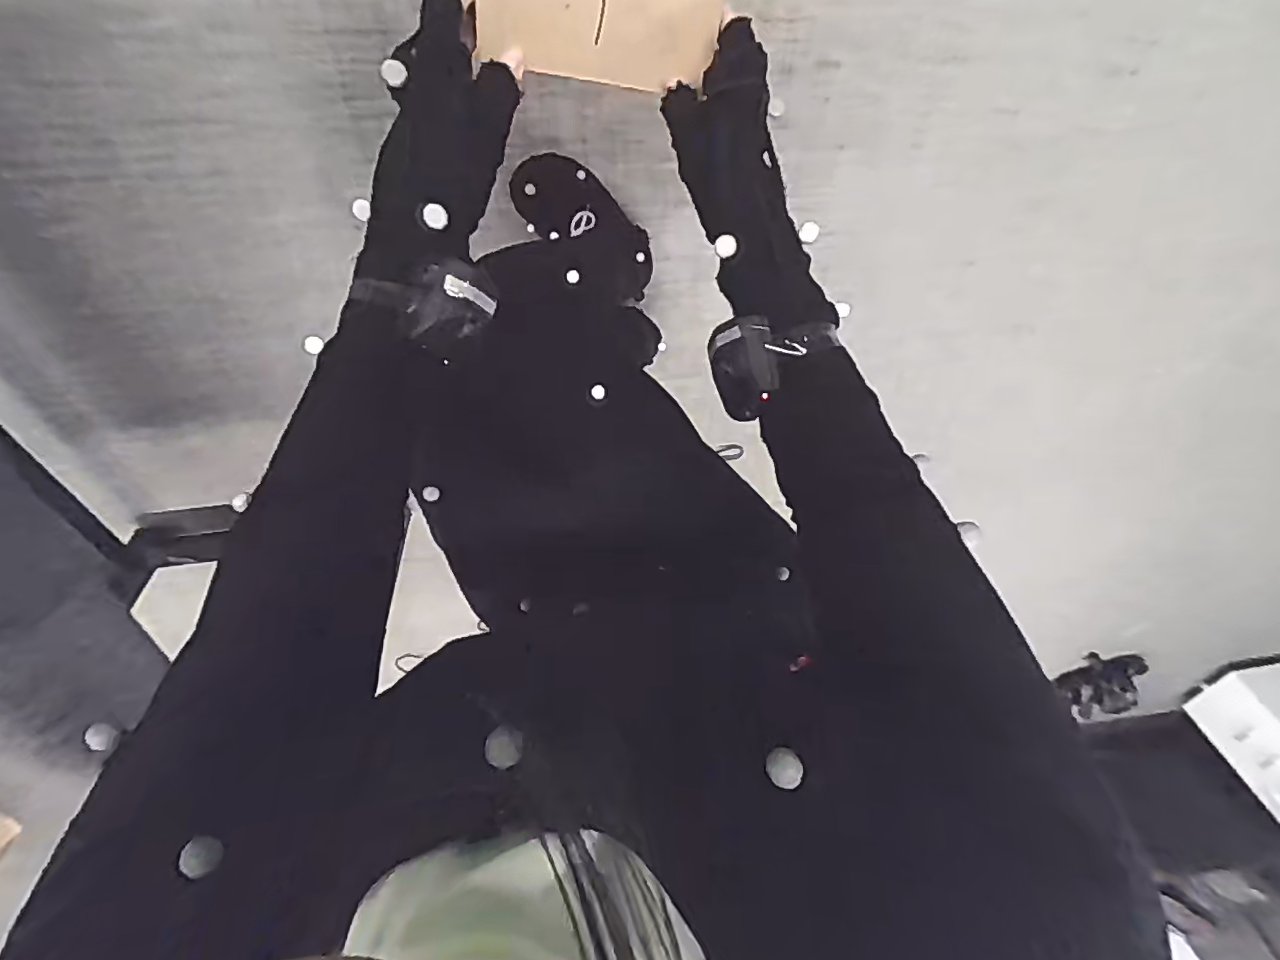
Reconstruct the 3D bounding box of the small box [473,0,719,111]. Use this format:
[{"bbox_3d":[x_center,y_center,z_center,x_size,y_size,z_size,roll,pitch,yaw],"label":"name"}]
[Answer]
[{"bbox_3d":[-0.035,-0.400,0.396,0.168,0.176,0.179,1,132,-13],"label":"small box"}]
